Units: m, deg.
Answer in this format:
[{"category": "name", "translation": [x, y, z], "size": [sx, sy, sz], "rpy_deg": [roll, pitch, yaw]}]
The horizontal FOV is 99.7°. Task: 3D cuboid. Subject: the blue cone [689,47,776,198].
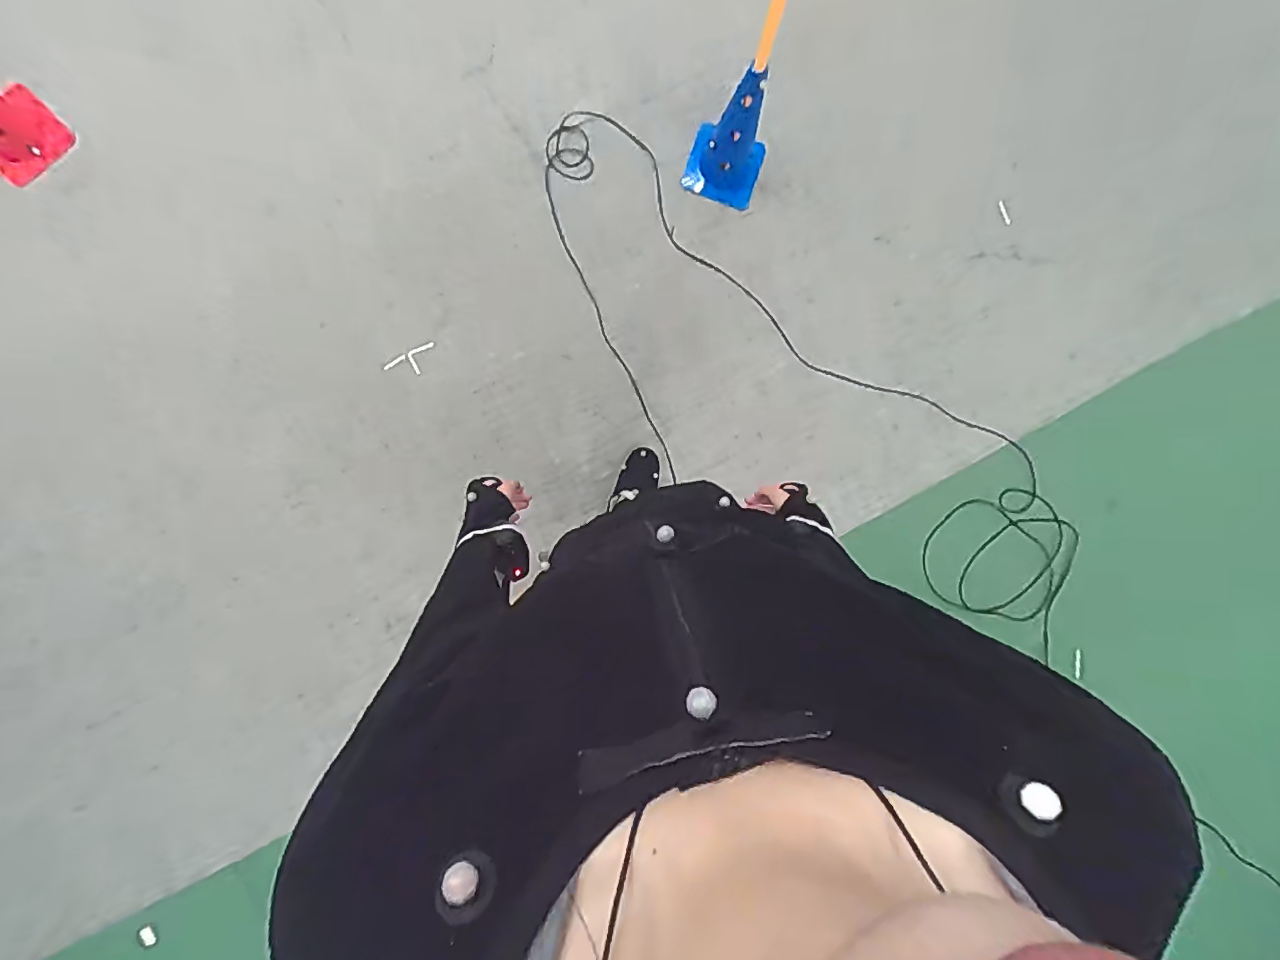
[{"category": "blue cone", "translation": [0.248, -0.889, 1.320], "size": [0.192, 0.380, 0.193], "rpy_deg": [17, 87, -3]}]
